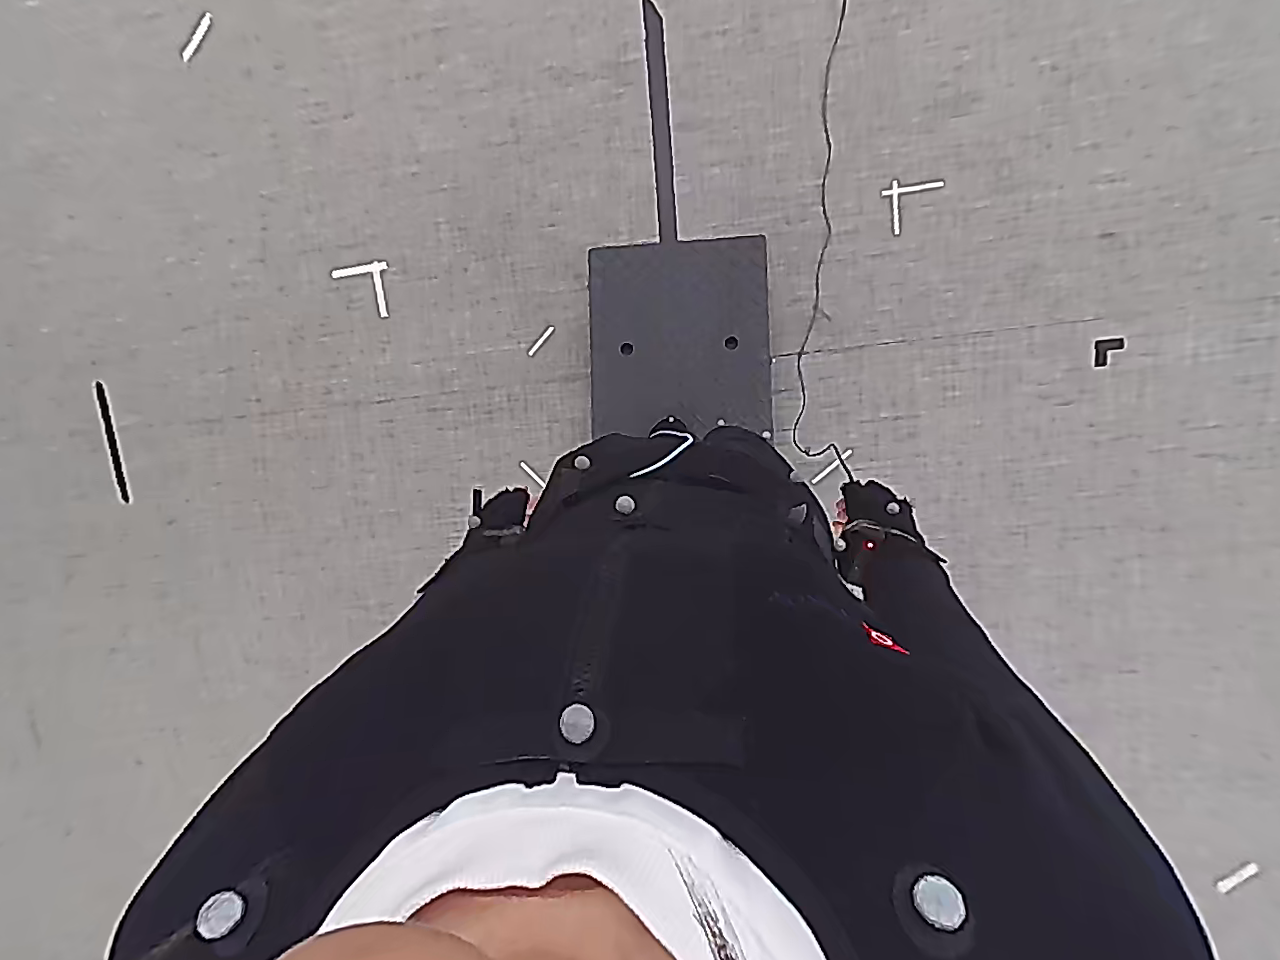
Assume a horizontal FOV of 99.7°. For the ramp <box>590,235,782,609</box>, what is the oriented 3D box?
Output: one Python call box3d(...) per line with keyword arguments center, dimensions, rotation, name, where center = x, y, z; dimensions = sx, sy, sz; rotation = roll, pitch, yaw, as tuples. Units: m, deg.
box3d(center=(0.113, -0.156, 1.464), dimensions=(0.509, 0.206, 0.991), rotation=(-4, 97, 8), name="ramp")
